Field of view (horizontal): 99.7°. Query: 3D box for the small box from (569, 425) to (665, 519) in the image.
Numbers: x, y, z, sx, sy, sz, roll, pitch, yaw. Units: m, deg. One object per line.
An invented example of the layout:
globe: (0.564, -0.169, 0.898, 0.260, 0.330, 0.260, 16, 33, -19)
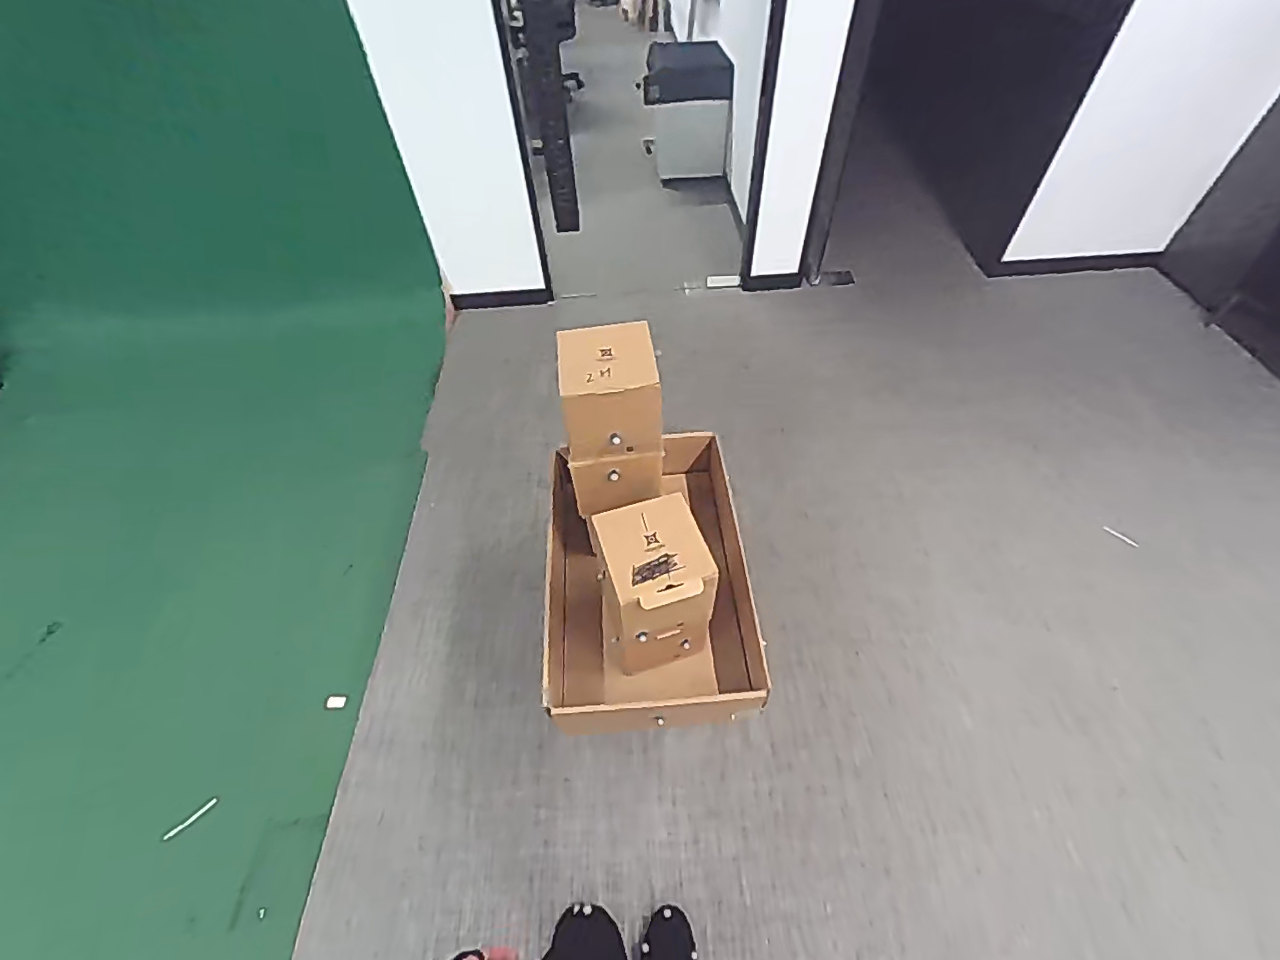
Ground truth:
small box: (-0.046, -0.038, 1.112, 0.179, 0.176, 0.168, -8, 52, -3)

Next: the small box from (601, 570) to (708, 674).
small box: (0.027, 0.266, 1.075, 0.168, 0.176, 0.179, -14, 51, -9)

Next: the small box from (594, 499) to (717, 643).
small box: (0.024, 0.166, 0.946, 0.168, 0.176, 0.179, -14, 51, -10)

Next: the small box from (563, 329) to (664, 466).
small box: (-0.048, -0.150, 0.990, 0.168, 0.176, 0.179, -7, 52, -1)
